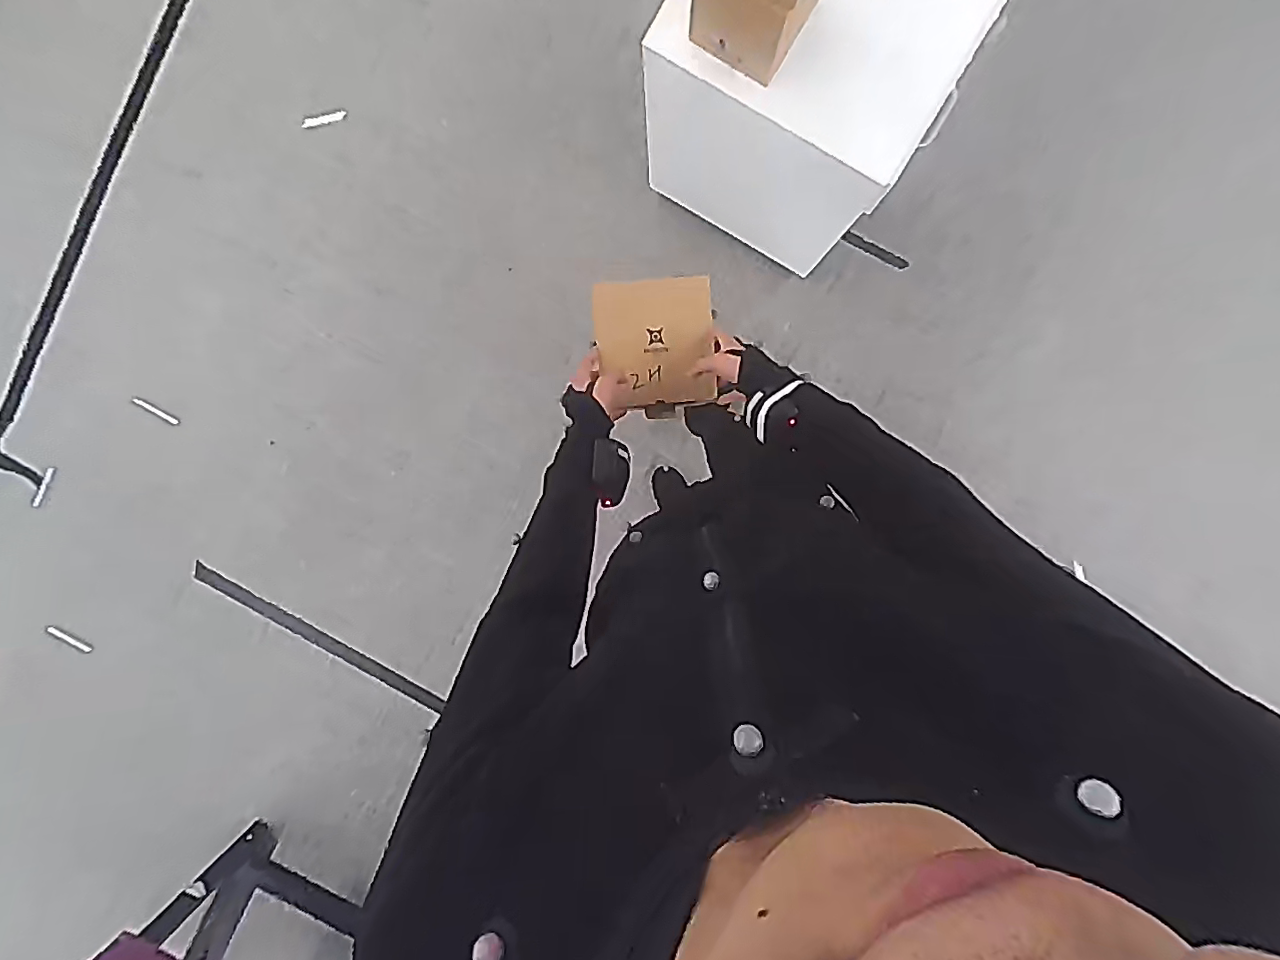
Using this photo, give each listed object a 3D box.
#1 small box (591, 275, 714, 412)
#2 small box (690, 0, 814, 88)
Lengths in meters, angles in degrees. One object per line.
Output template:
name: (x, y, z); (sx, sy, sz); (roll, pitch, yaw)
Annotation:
small box: (0.012, -0.200, 0.831); (0.168, 0.176, 0.179); (-5, 96, -3)
small box: (0.191, -0.799, 0.871); (0.168, 0.176, 0.179); (31, 94, 0)
